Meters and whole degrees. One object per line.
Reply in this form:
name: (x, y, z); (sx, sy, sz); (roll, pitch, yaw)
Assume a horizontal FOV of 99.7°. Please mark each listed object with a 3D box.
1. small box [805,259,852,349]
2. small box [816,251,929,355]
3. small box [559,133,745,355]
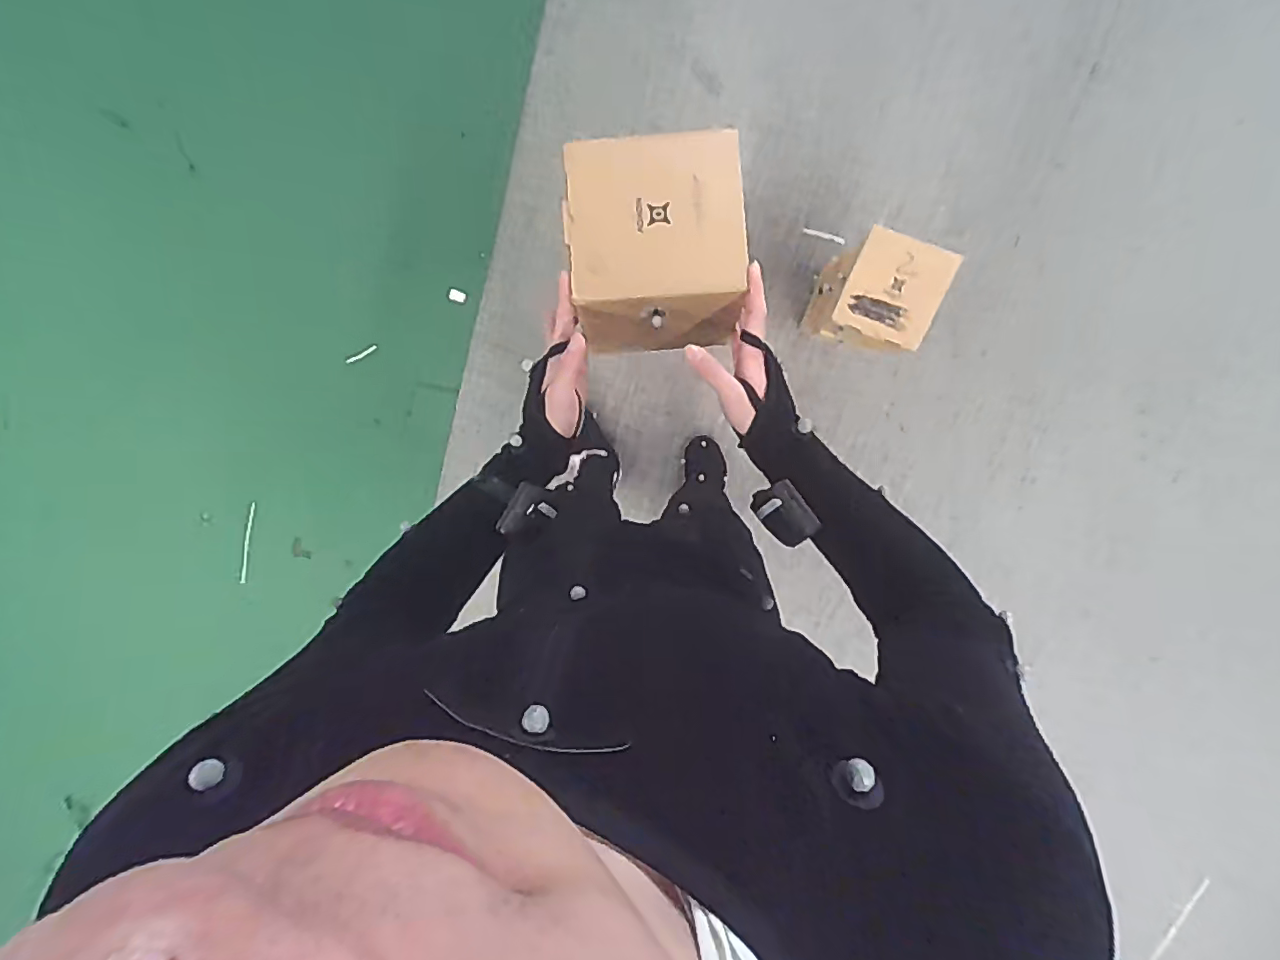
small box: (0.526, -0.426, 1.344); (0.179, 0.176, 0.168); (20, 104, 5)
small box: (0.498, -0.380, 1.190); (0.168, 0.176, 0.179); (16, 103, 7)
small box: (0.014, -0.245, 0.601); (0.179, 0.176, 0.168); (-4, 86, 2)
